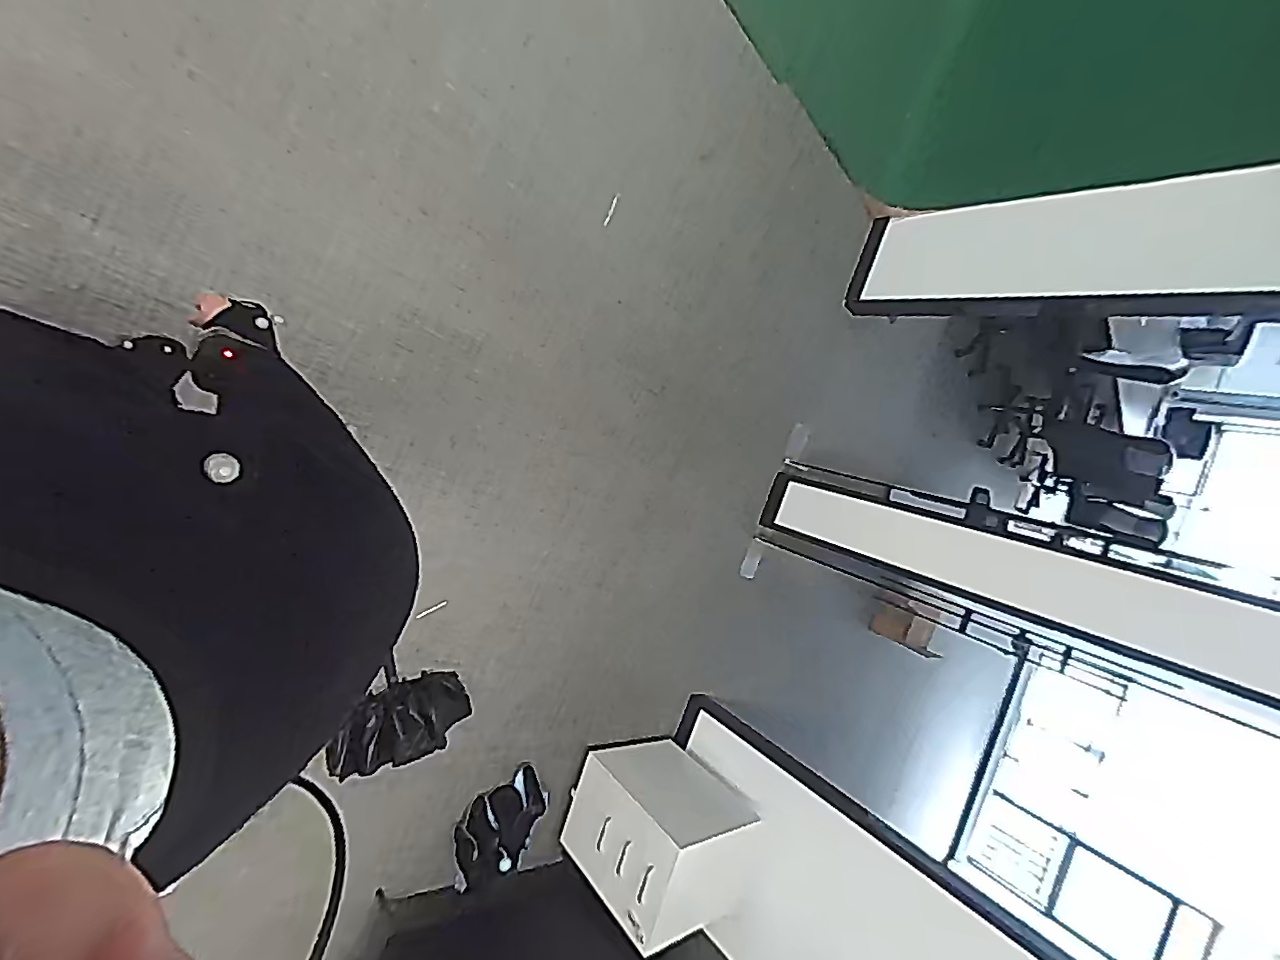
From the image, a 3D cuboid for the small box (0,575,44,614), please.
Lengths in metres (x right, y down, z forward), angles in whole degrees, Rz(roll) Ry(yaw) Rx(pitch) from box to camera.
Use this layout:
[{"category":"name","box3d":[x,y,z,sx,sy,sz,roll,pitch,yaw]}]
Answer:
[{"category":"small box","box3d":[-1.267,0.287,1.014,0.168,0.176,0.179,19,88,-45]}]

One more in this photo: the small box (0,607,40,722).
[{"category":"small box","box3d":[-1.153,0.321,0.901,0.168,0.176,0.179,22,87,-44]}]
